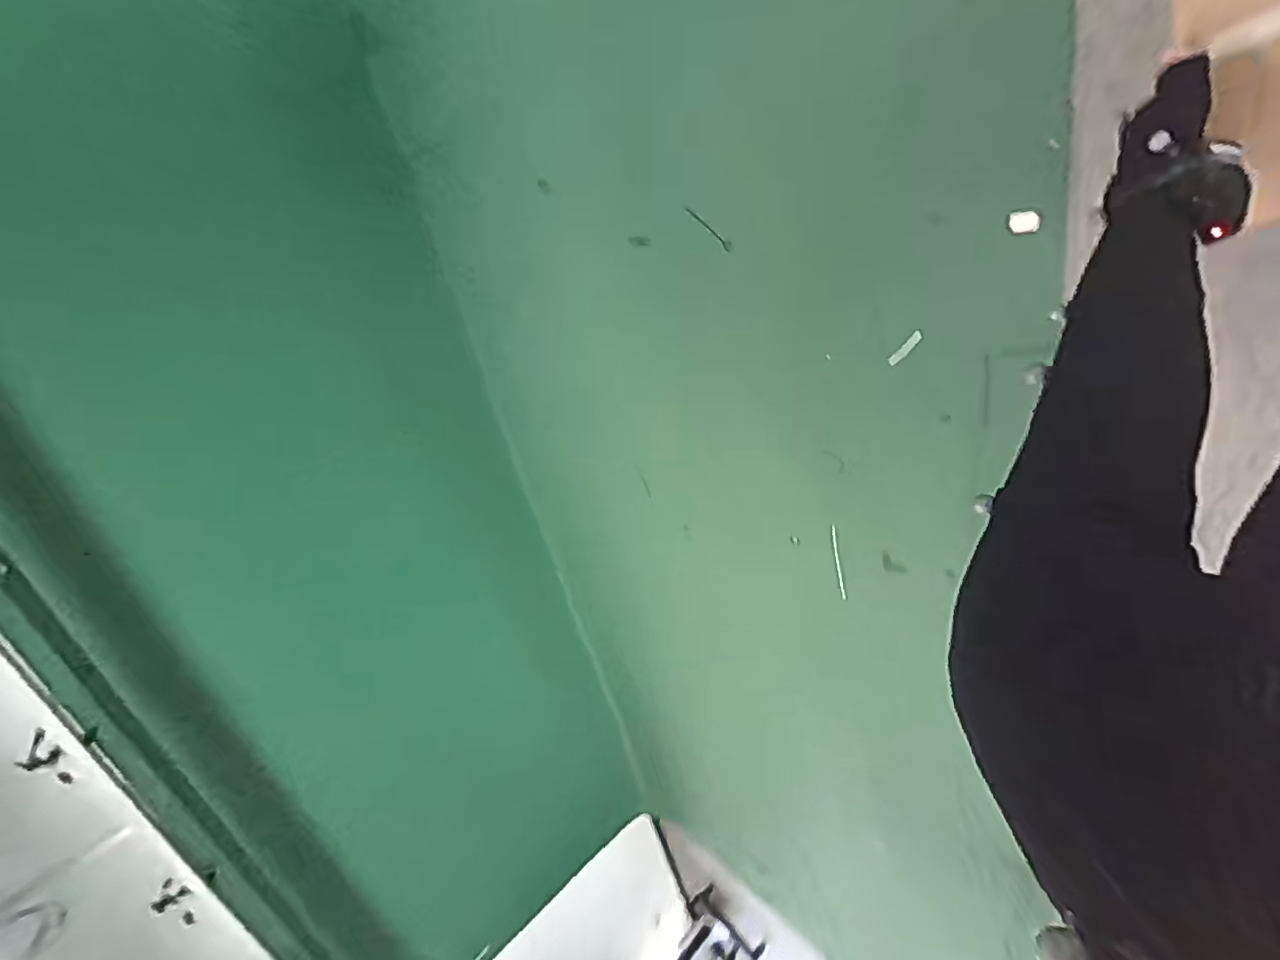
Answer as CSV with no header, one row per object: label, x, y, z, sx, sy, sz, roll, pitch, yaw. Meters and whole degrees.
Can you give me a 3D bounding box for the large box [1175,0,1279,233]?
large box,0.735,-0.424,0.420,0.408,0.320,0.320,4,107,56
